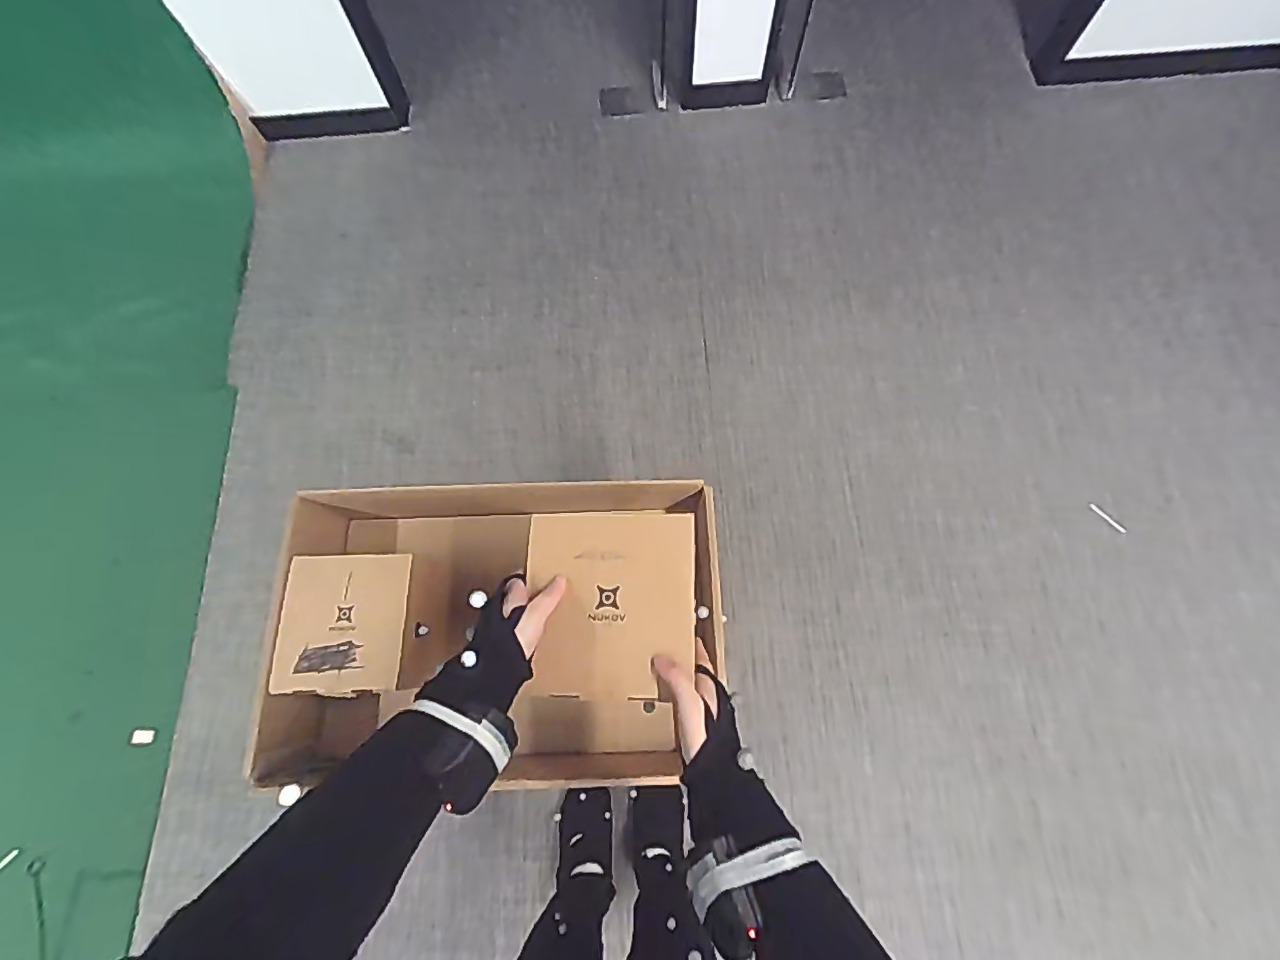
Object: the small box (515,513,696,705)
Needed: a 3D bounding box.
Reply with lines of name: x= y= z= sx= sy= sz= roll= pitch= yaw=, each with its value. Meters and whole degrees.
small box: x=-0.024 y=0.142 z=0.591 sx=0.168 sy=0.176 sz=0.179 roll=0 pitch=71 yaw=6
